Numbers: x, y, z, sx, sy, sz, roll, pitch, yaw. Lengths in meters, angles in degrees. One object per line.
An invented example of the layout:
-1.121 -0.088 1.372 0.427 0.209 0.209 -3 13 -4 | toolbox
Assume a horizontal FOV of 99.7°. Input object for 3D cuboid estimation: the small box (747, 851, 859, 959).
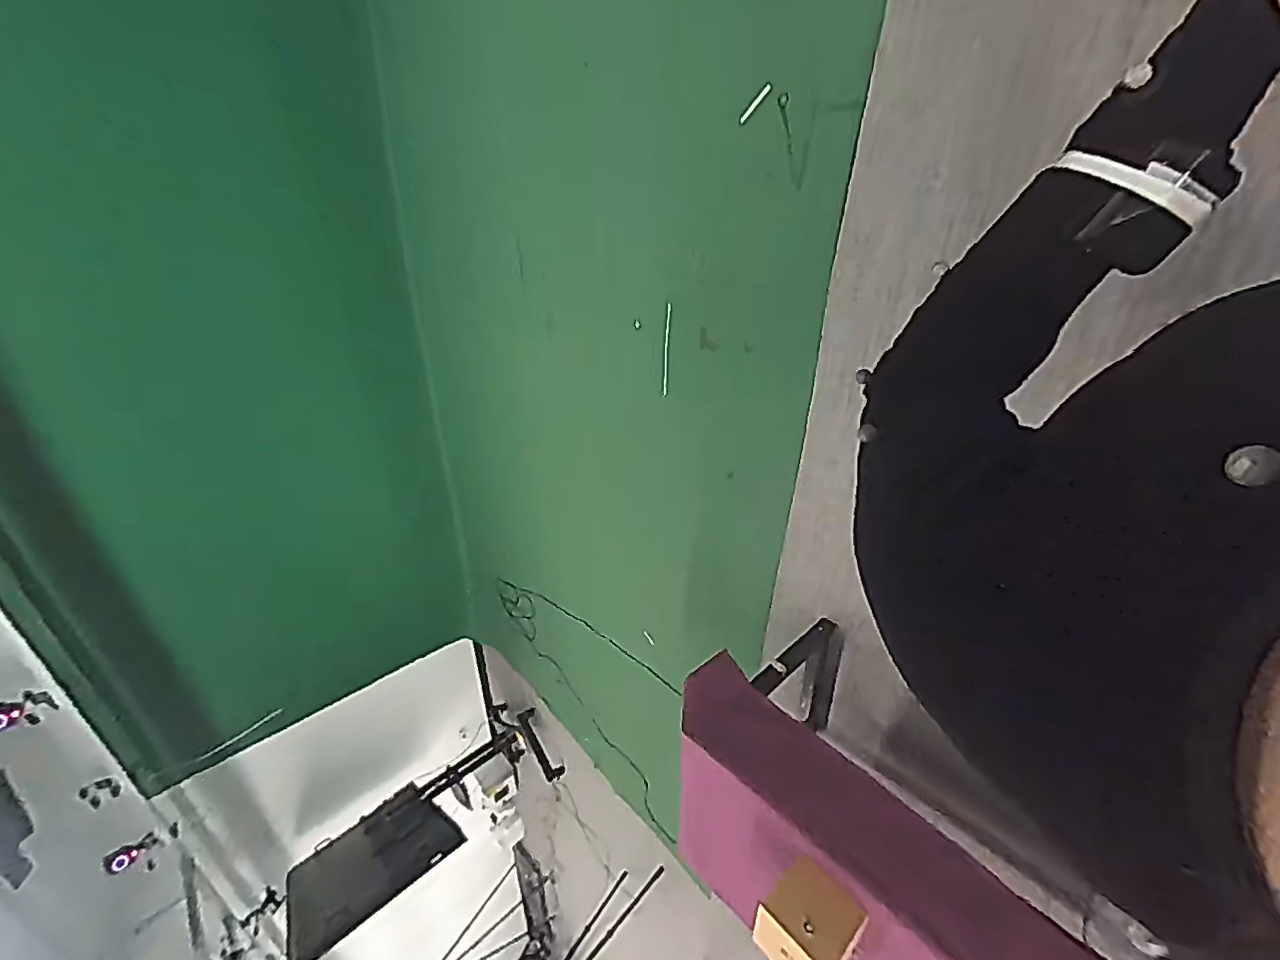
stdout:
0.374 1.010 1.240 0.179 0.176 0.168 29 129 41 | small box
